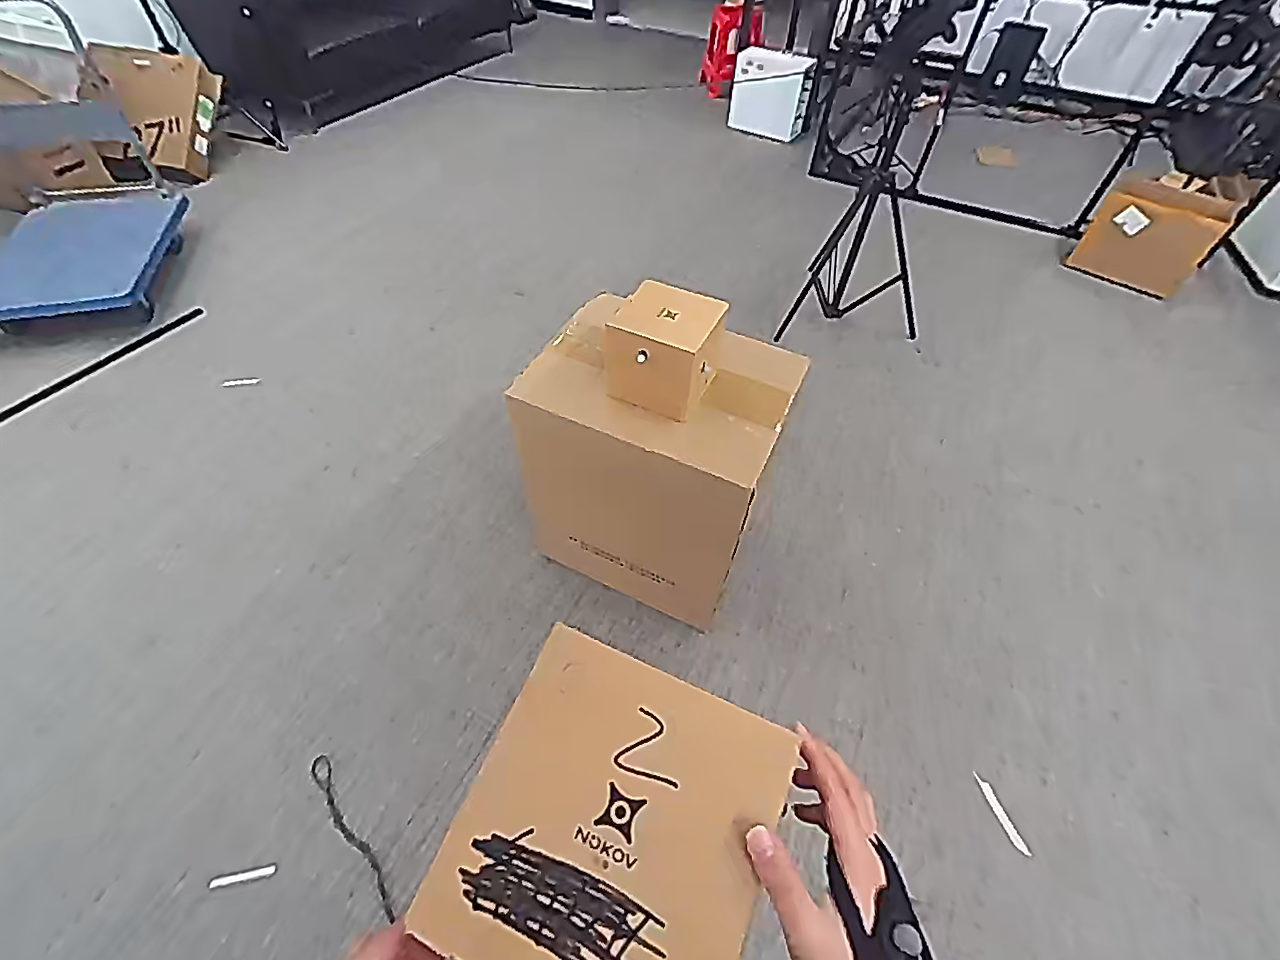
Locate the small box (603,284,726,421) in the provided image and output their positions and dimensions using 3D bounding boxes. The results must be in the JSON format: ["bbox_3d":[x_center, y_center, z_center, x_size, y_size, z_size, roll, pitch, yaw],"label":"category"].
[{"bbox_3d":[0.045,-0.238,1.032,0.179,0.176,0.168,22,54,15],"label":"small box"}]
